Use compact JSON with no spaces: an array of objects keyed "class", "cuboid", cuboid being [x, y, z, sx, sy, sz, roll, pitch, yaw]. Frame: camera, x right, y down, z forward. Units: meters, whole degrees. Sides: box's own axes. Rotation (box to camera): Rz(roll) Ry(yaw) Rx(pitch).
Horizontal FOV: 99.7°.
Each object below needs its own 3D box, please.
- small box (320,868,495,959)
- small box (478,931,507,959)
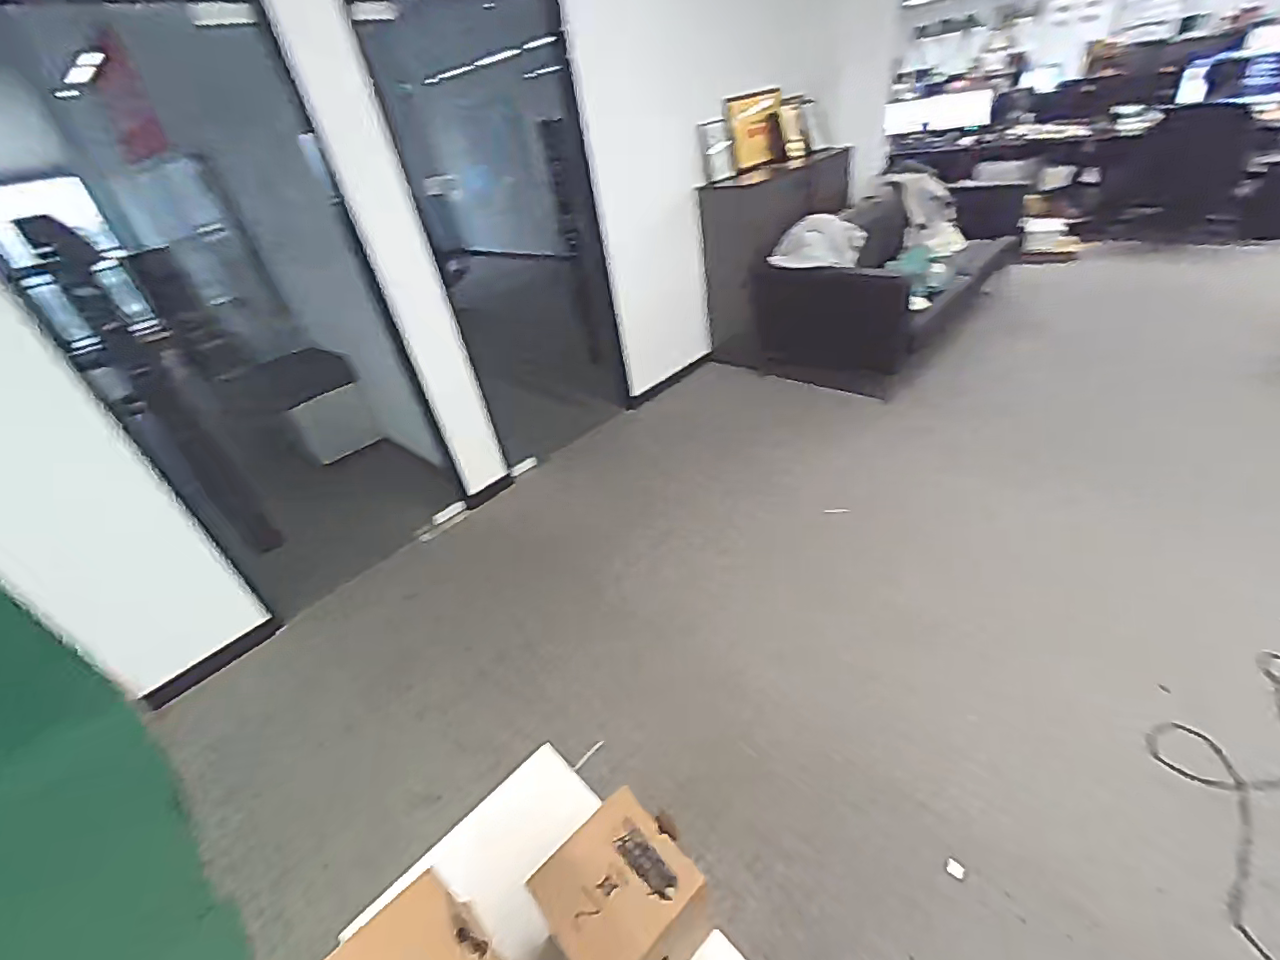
[{"class":"small box","cuboid":[-0.225,0.548,0.528,0.179,0.176,0.168,-32,39,-32]},{"class":"small box","cuboid":[-0.200,0.682,0.618,0.168,0.176,0.179,24,47,39]}]
